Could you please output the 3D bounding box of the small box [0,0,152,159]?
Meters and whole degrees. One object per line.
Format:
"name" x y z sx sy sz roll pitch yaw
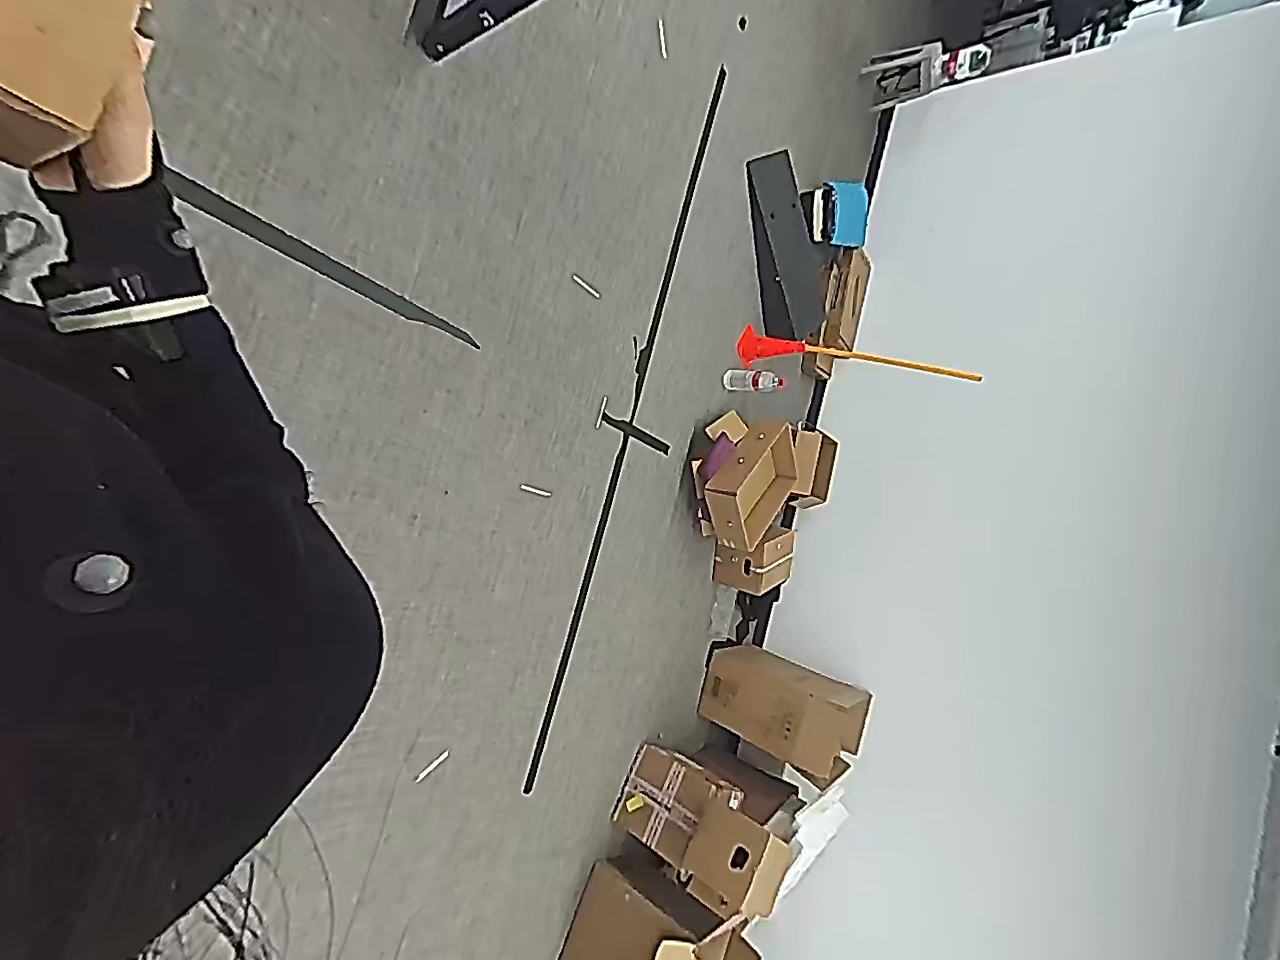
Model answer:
"small box" -0.315 -0.262 0.216 0.168 0.176 0.179 24 84 -57
